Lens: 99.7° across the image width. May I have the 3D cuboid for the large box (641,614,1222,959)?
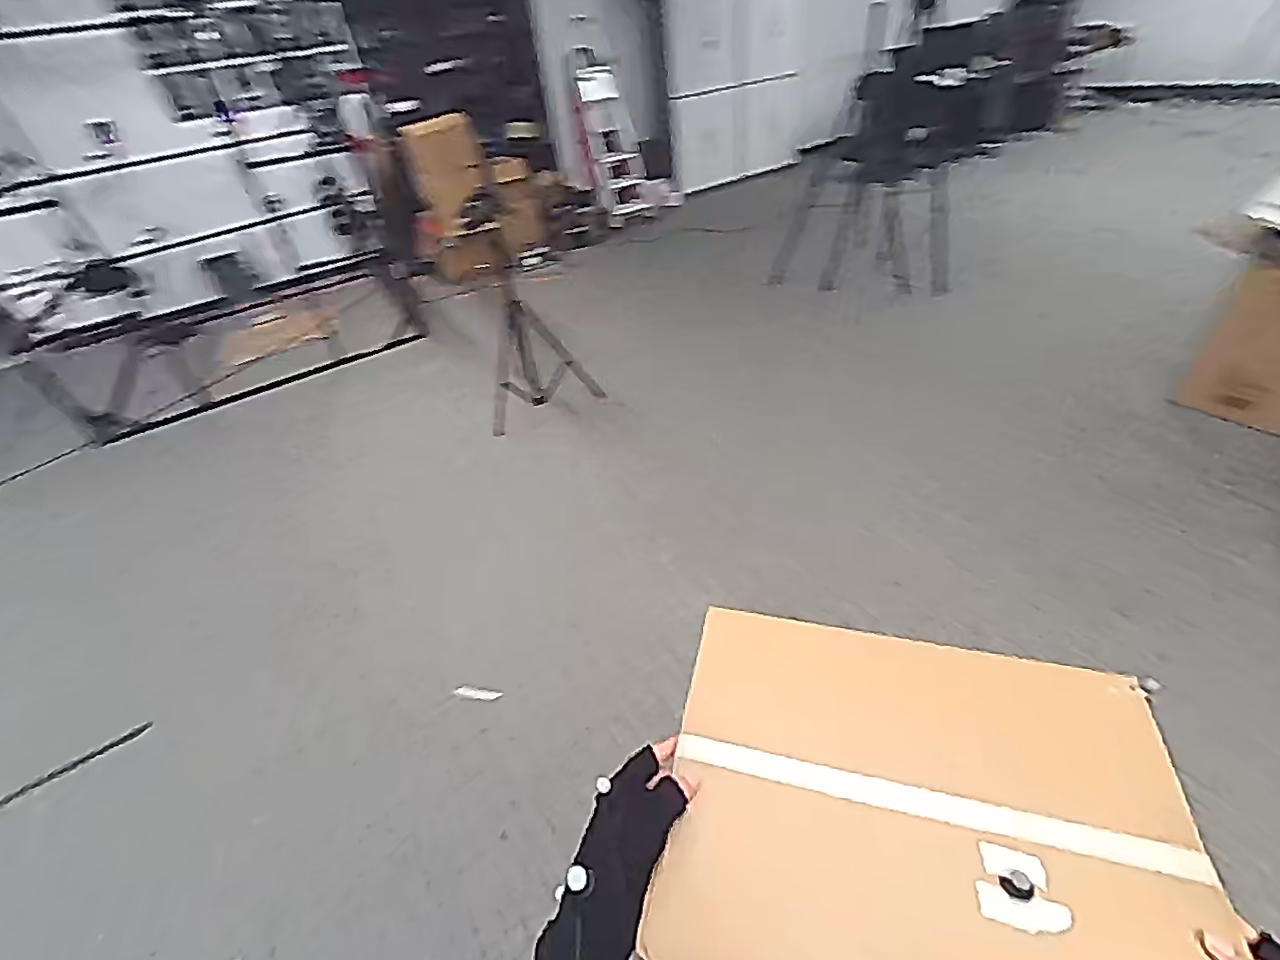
[{"bbox_3d":[0.240,0.381,0.566,0.408,0.320,0.320,5,44,15],"label":"large box"}]
